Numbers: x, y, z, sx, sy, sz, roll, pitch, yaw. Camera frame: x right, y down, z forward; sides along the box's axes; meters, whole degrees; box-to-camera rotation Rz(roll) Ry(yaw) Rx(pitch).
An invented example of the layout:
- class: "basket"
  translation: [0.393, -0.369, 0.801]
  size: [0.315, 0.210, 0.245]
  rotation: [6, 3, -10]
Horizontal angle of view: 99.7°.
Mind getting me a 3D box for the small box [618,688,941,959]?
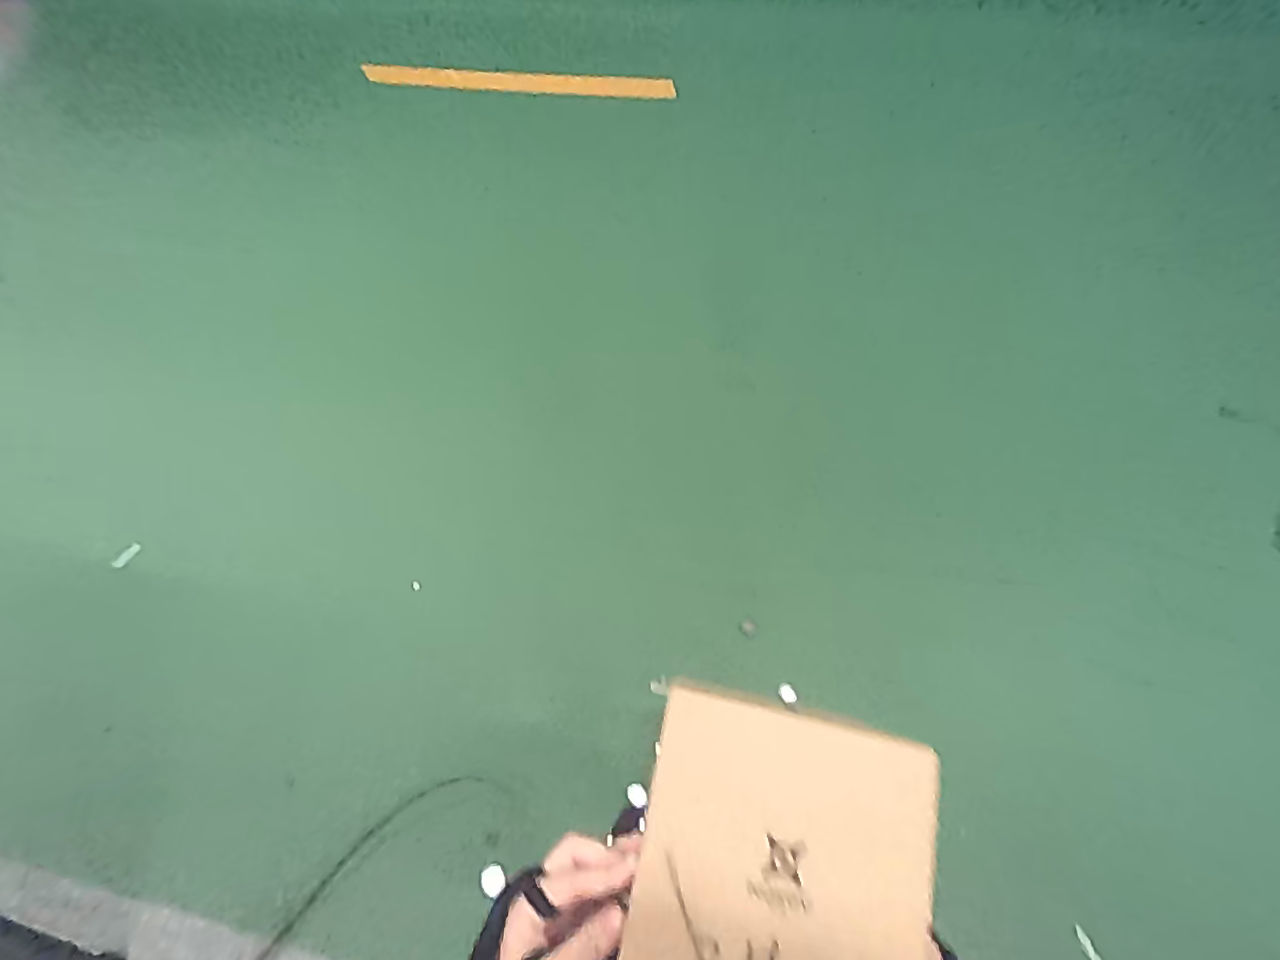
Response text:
- class: "small box"
  translation: [0.087, 0.256, 0.382]
  size: [0.168, 0.176, 0.179]
  rotation: [11, 74, 10]
